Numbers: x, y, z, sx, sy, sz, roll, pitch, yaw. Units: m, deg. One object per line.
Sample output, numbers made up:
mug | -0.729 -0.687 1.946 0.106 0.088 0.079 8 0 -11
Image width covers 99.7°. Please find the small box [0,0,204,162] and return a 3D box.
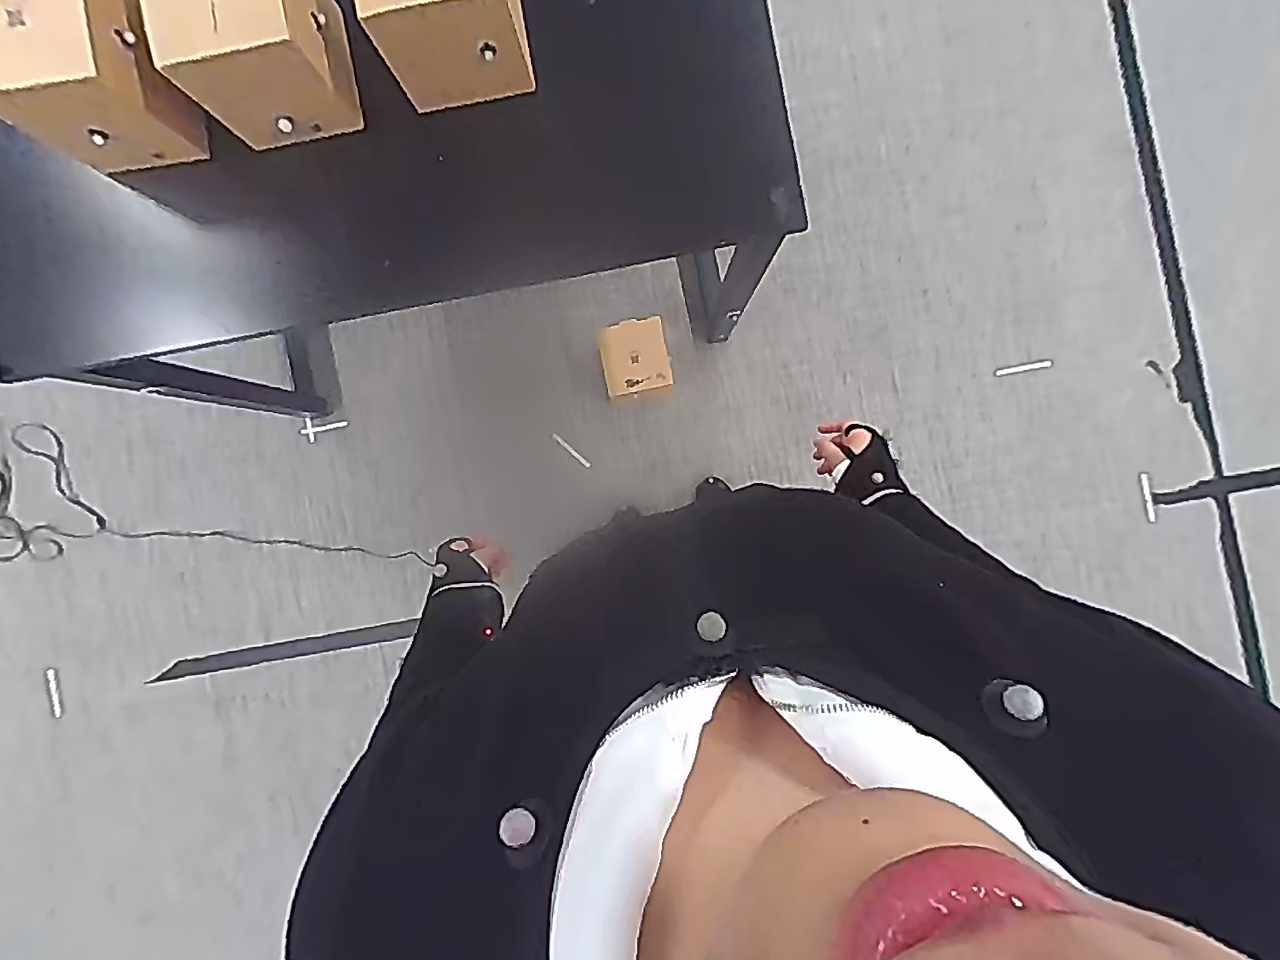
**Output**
small box | -0.718 -0.545 0.706 0.168 0.176 0.179 -8 90 0

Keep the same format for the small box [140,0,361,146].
small box | -0.496 -0.580 0.701 0.168 0.176 0.179 -12 92 1

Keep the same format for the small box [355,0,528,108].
small box | -0.252 -0.628 0.699 0.179 0.176 0.168 -11 89 2

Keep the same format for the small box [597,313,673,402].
small box | -0.011 -0.316 1.424 0.168 0.176 0.179 -12 90 2
